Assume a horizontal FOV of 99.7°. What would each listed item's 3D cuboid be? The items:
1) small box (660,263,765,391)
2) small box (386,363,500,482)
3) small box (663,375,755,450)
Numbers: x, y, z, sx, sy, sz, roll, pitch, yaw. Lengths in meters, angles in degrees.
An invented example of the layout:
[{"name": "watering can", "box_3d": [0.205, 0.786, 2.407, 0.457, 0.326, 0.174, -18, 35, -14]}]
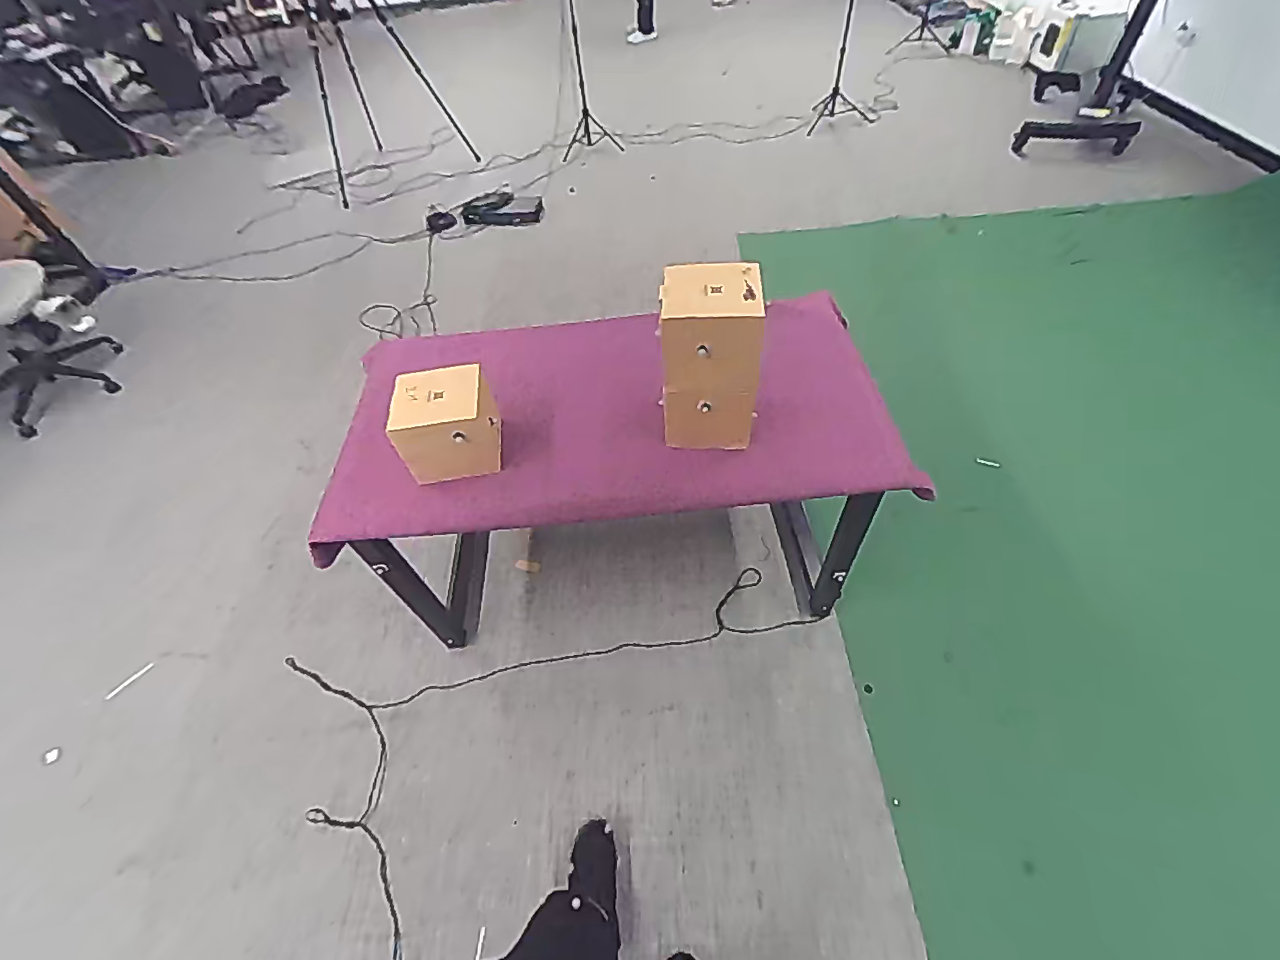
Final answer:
[{"name": "small box", "box_3d": [0.133, -0.277, 0.997, 0.179, 0.176, 0.168, 0, 53, 7]}, {"name": "small box", "box_3d": [-0.397, -0.116, 1.126, 0.179, 0.176, 0.168, -9, 51, -1]}, {"name": "small box", "box_3d": [0.145, -0.176, 1.126, 0.179, 0.176, 0.168, 3, 52, 8]}]
